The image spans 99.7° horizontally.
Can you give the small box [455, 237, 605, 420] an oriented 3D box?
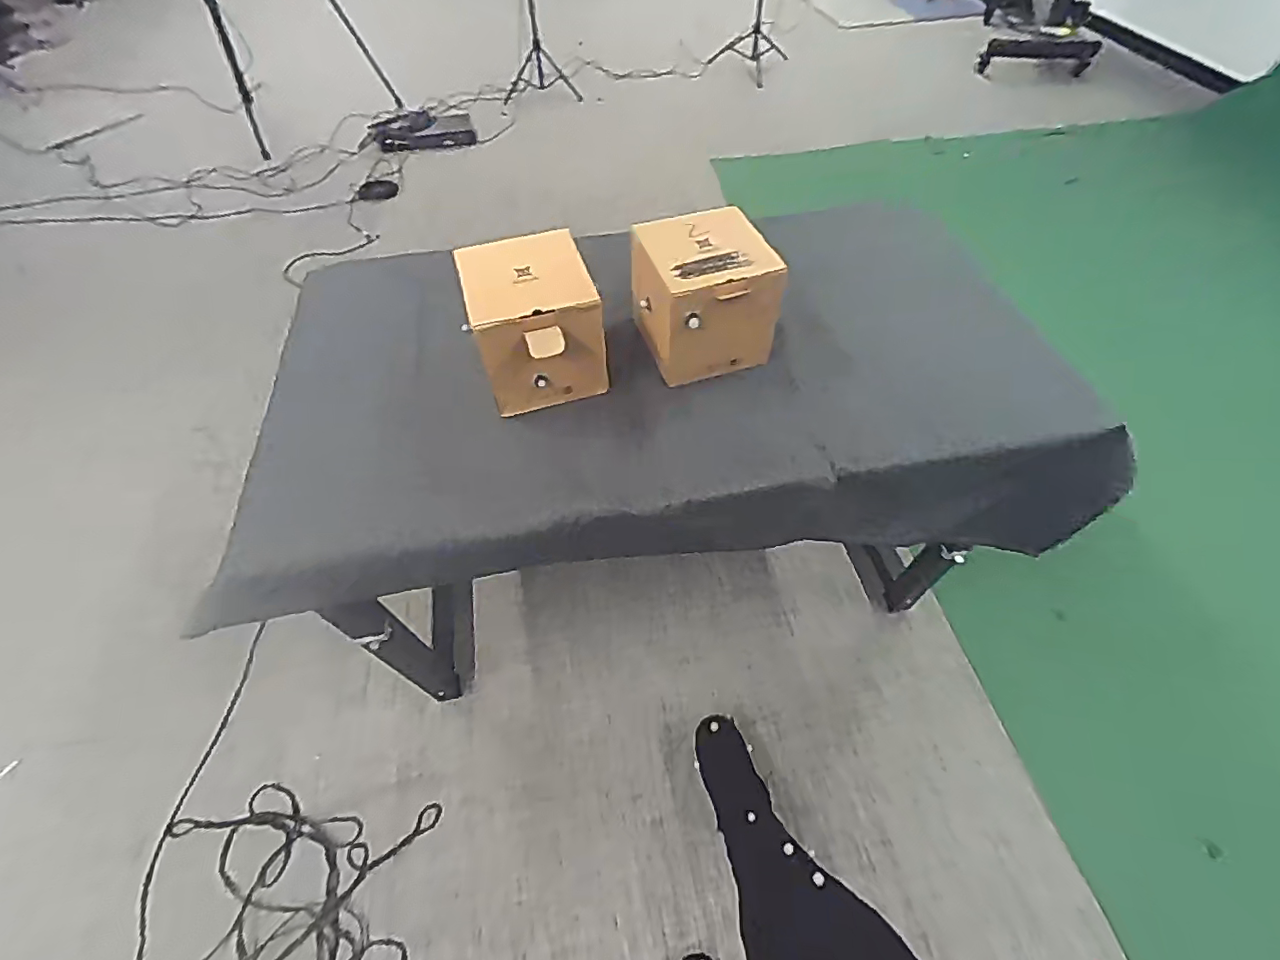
[{"bbox_3d":[-0.154,-0.216,0.779,0.168,0.176,0.179,-16,57,-11],"label":"small box"}]
